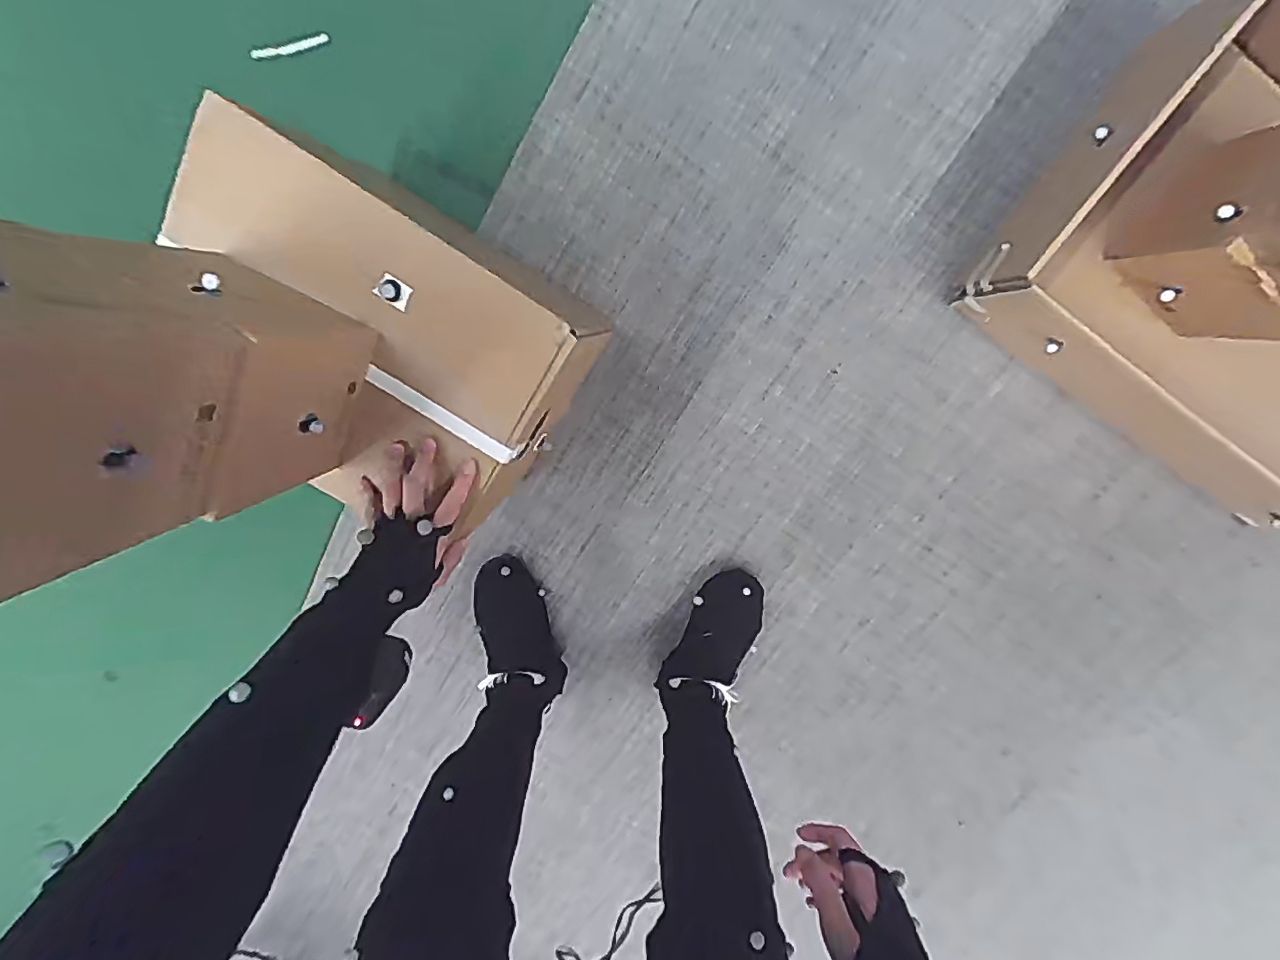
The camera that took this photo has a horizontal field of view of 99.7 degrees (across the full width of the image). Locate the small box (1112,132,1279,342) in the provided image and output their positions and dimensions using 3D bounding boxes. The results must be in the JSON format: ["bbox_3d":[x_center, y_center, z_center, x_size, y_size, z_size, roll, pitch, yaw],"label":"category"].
[{"bbox_3d":[0.728,-0.284,0.631,0.168,0.176,0.179,36,106,-9],"label":"small box"}]

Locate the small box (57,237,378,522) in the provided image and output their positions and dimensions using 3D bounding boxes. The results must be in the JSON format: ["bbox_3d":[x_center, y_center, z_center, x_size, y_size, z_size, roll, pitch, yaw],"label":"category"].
[{"bbox_3d":[-0.377,-0.093,0.493,0.179,0.176,0.168,27,106,-4],"label":"small box"}]

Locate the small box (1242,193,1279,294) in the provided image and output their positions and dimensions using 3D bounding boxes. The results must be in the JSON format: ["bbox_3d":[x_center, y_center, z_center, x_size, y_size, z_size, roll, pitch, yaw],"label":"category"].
[{"bbox_3d":[0.725,-0.240,0.474,0.168,0.176,0.179,40,105,-9],"label":"small box"}]
